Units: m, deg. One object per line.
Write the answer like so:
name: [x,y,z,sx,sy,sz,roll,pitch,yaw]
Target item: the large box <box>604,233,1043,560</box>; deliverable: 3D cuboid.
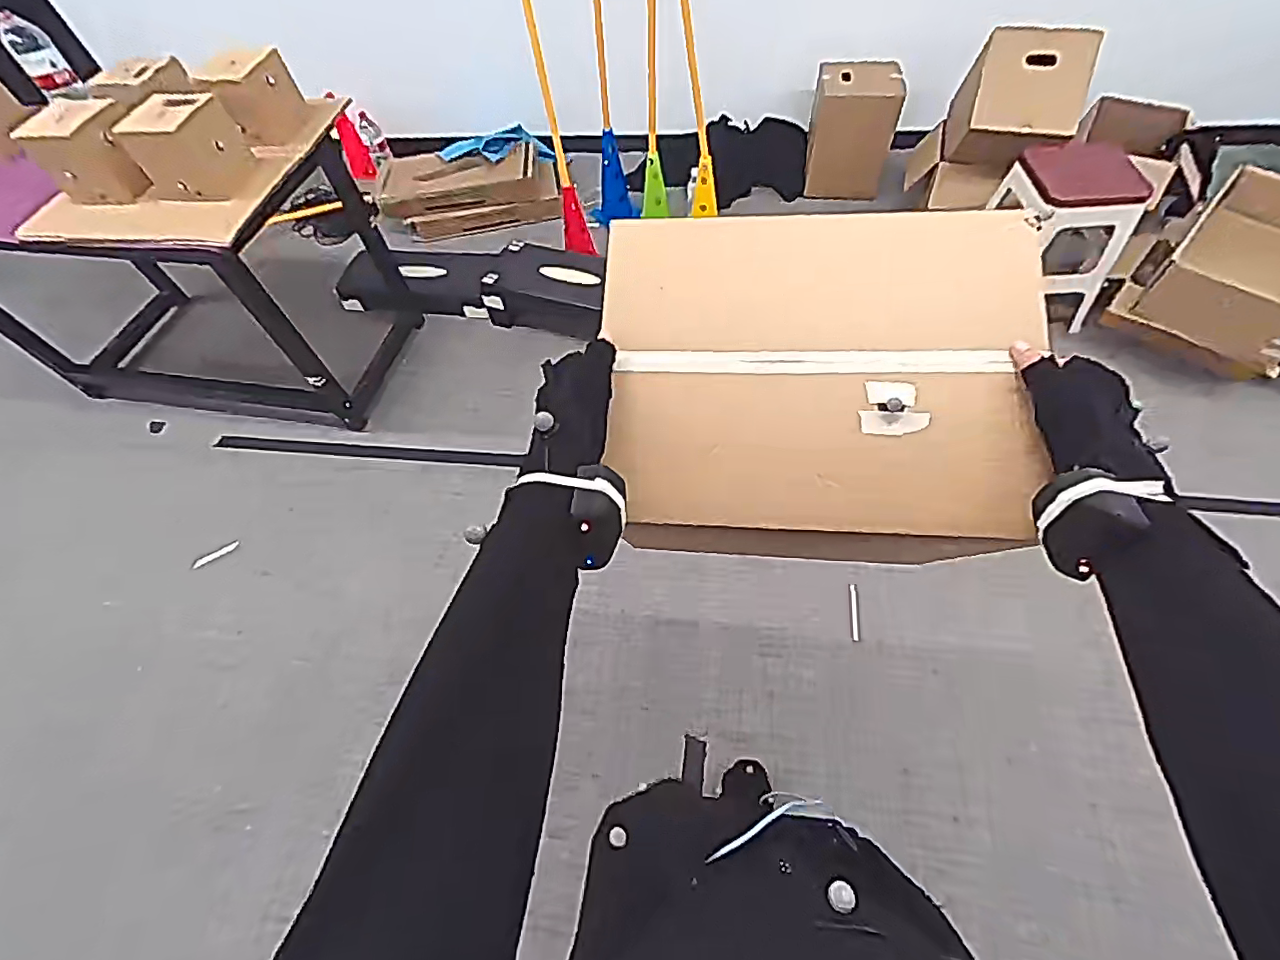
large box: [0.180,-0.069,0.672,0.408,0.320,0.320,2,79,6]
